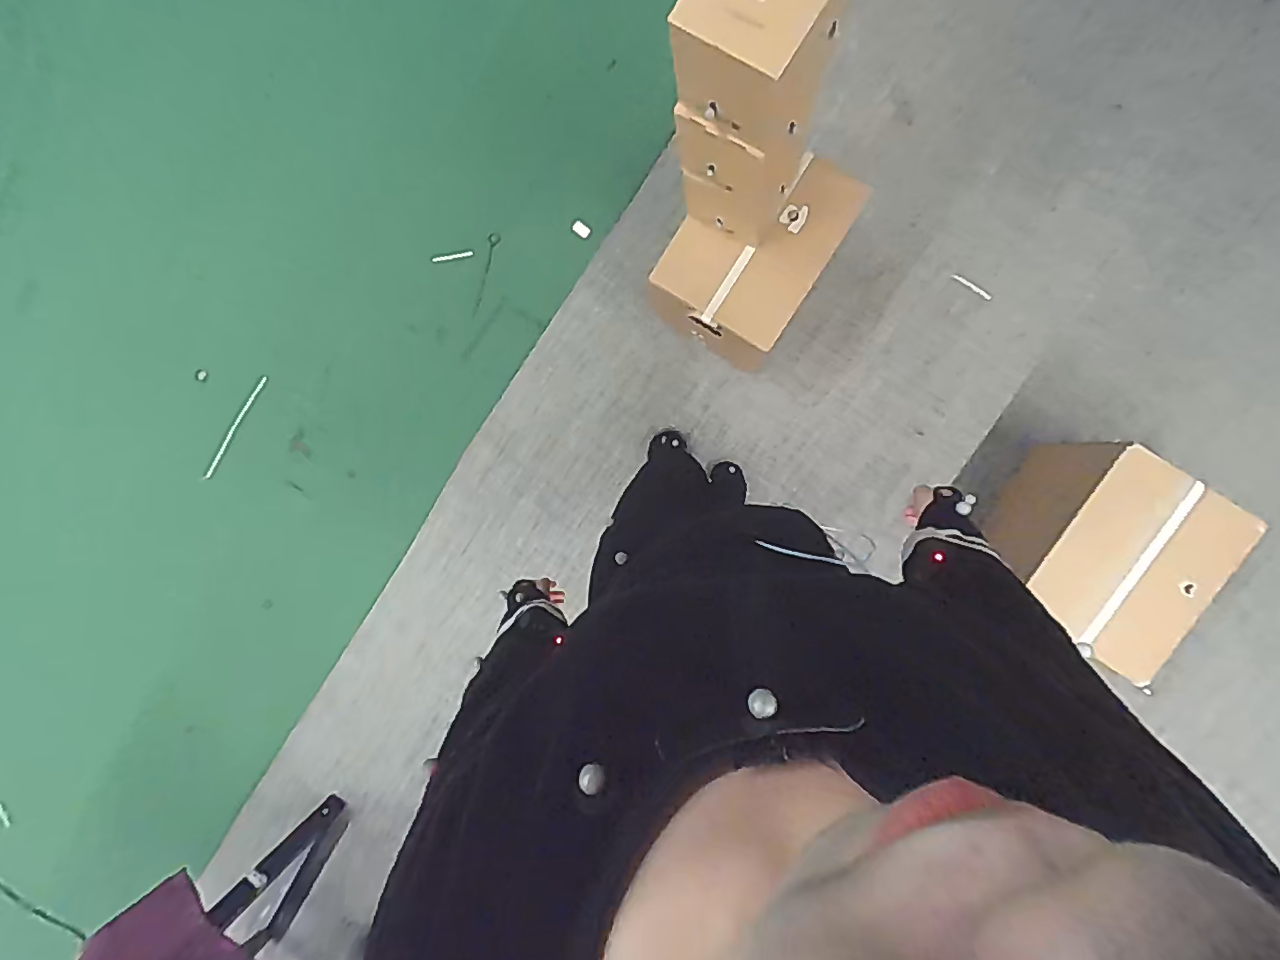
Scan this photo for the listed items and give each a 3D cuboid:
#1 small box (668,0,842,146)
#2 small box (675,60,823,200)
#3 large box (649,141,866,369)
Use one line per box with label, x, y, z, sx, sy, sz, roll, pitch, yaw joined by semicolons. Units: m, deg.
small box;0.159;-0.616;0.742;0.168;0.176;0.179;35;97;8
small box;0.176;-0.616;0.905;0.168;0.176;0.179;33;97;7
large box;0.265;-0.538;1.307;0.320;0.320;0.408;33;95;5
